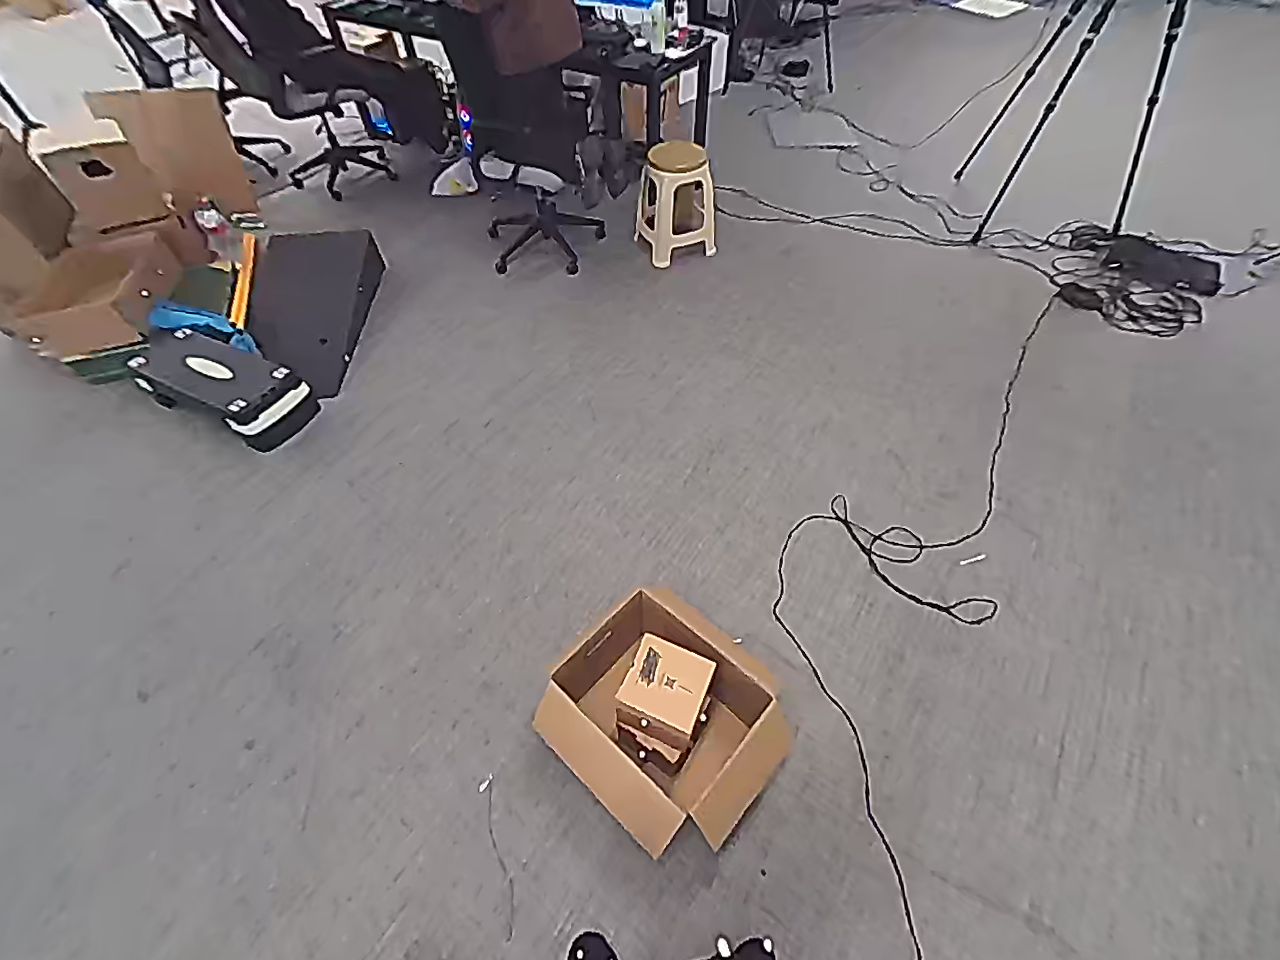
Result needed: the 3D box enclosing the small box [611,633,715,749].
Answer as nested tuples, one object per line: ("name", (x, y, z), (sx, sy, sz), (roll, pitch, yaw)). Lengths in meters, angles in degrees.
("small box", (0.053, 0.485, 1.231), (0.179, 0.176, 0.168), (22, 56, 18))
